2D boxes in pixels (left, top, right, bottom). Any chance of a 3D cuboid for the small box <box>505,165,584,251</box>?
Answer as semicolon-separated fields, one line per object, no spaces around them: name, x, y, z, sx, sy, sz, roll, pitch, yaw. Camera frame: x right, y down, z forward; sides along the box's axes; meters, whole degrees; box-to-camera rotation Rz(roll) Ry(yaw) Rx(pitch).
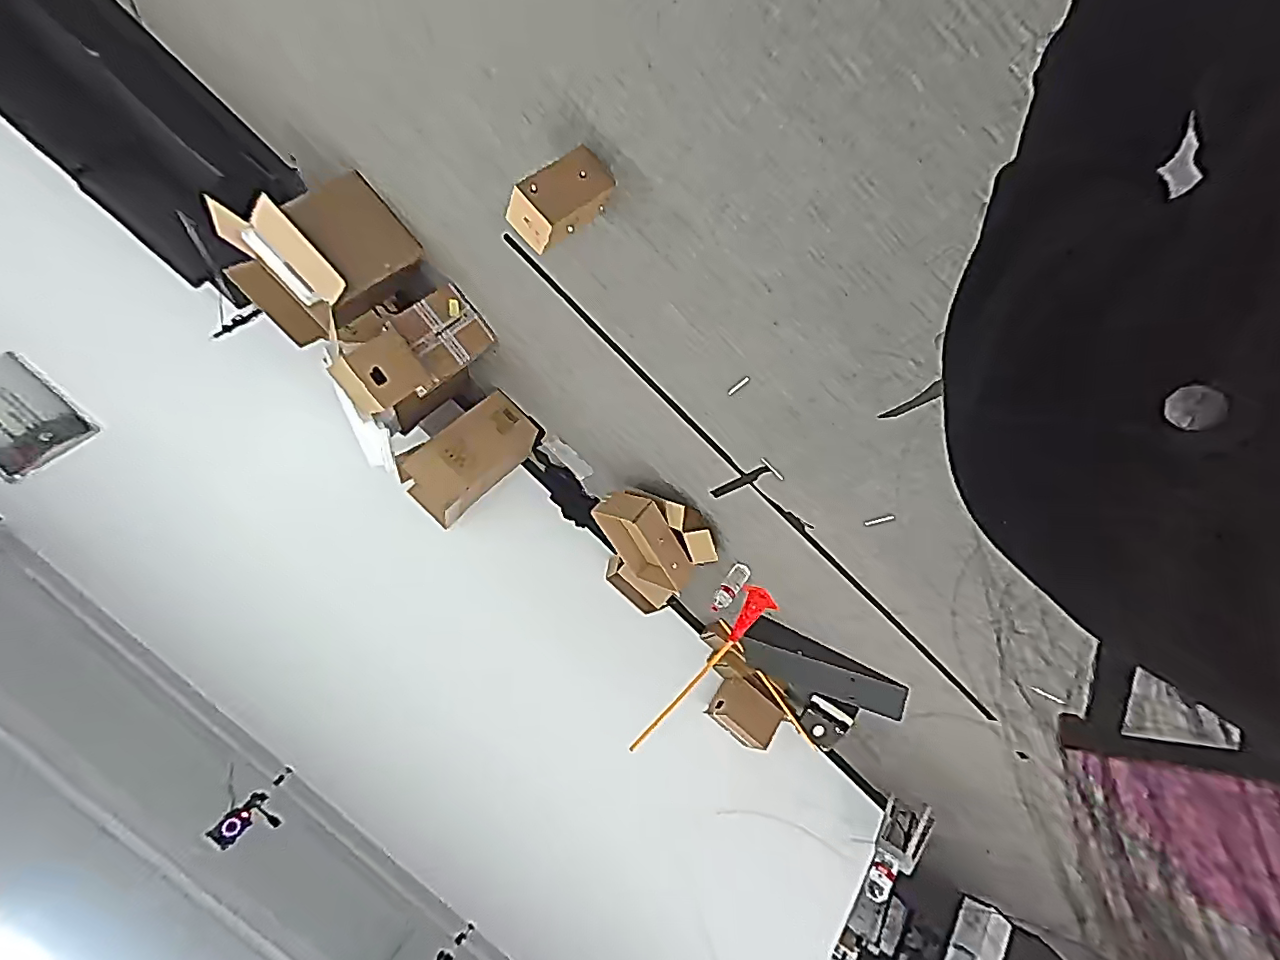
small box;-0.321;-0.924;1.824;0.179;0.176;0.168;45;155;-8
